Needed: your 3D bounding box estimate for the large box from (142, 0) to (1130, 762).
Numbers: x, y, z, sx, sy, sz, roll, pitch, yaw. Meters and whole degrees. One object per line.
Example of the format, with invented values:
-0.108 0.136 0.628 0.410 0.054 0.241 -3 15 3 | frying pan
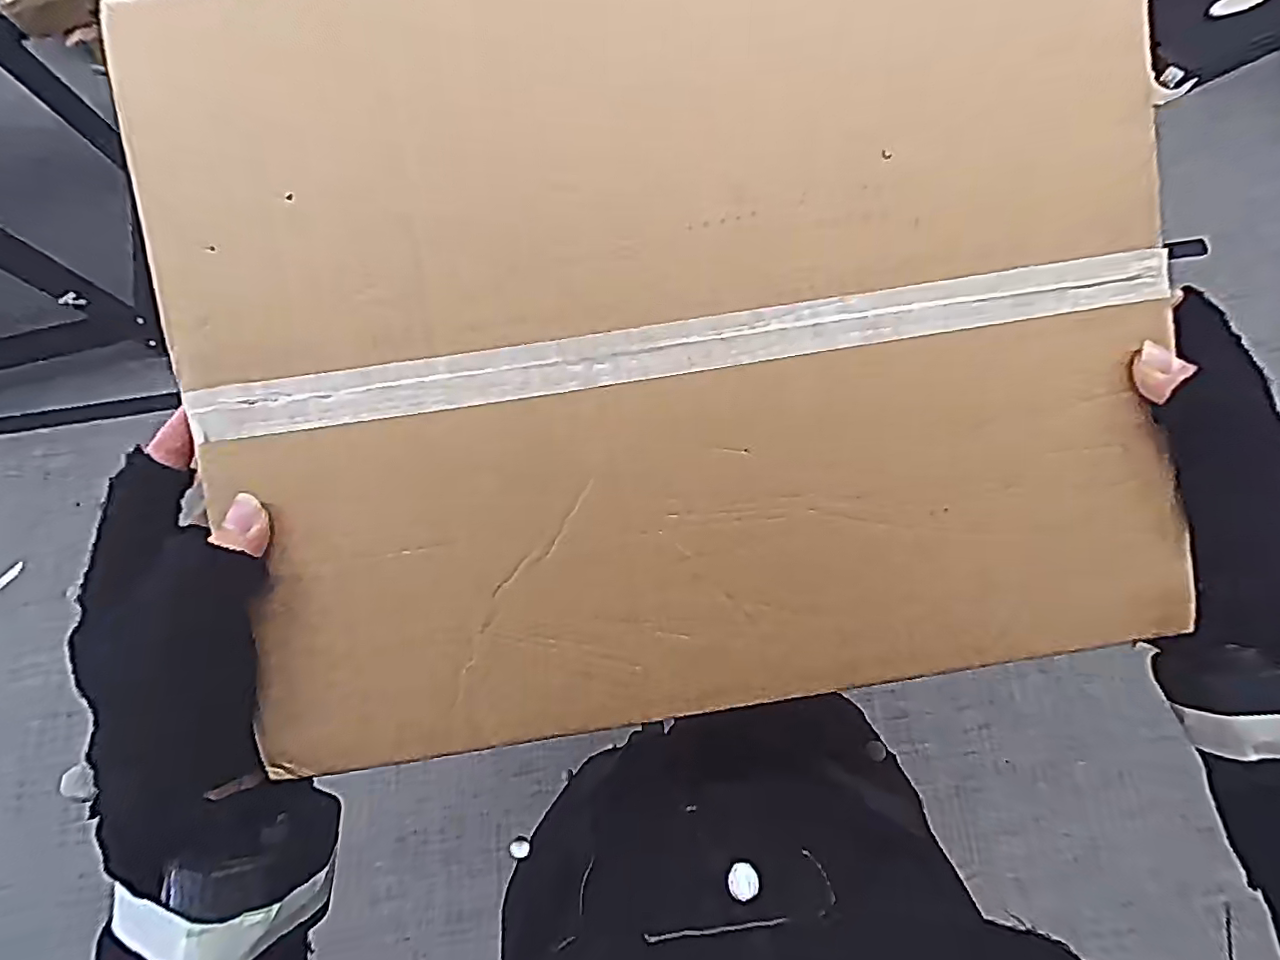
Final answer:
0.010 -0.066 0.384 0.408 0.320 0.320 -8 94 -2 | large box
